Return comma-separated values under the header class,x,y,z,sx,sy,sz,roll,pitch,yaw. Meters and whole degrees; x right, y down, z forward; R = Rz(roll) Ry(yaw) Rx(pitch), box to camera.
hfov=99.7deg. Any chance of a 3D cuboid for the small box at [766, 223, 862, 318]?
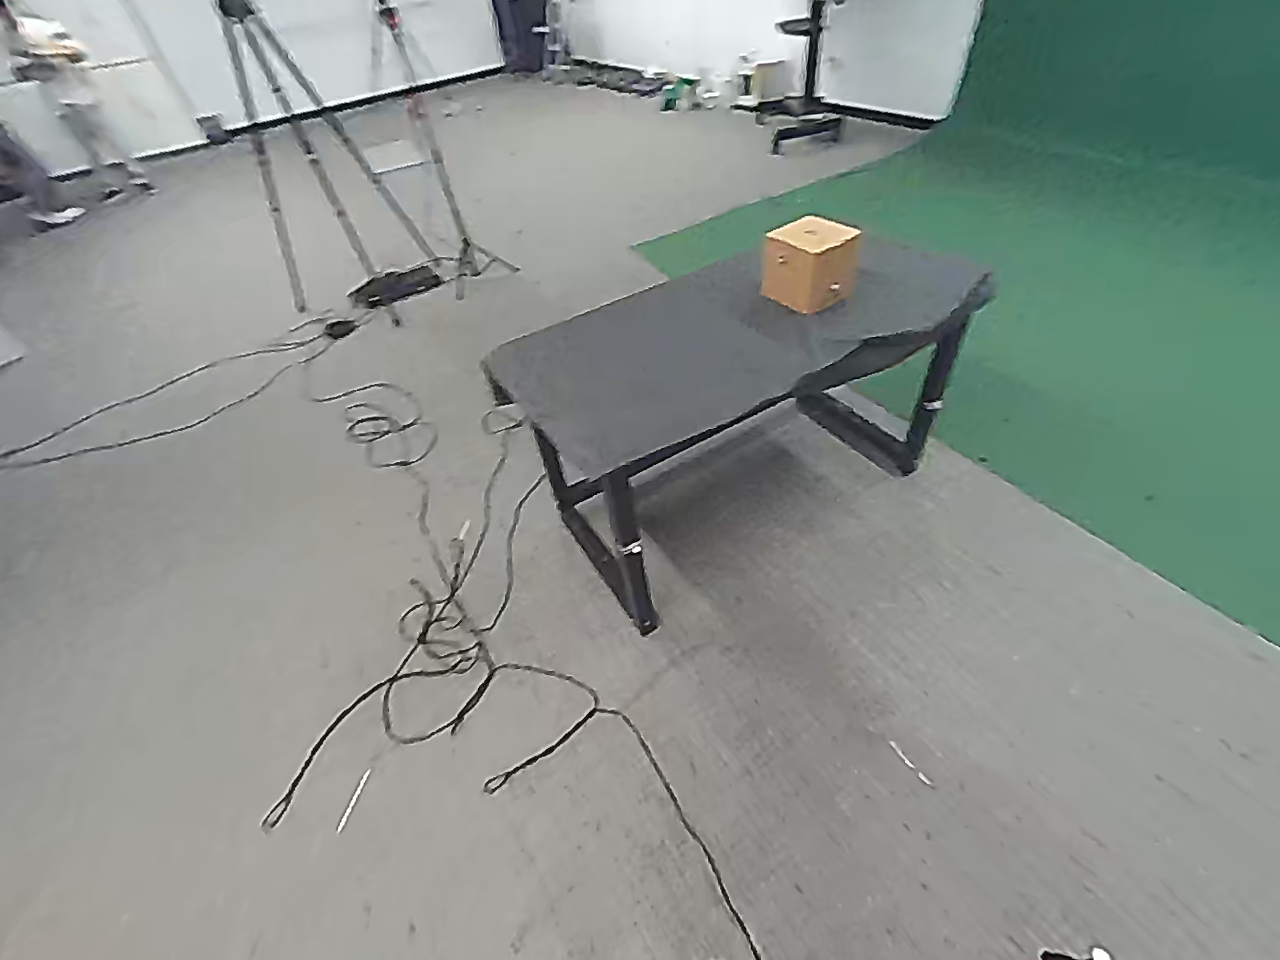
class,x,y,z,sx,sy,sz,roll,pitch,yaw
small box,0.450,-0.554,1.433,0.168,0.176,0.179,-30,49,-18
